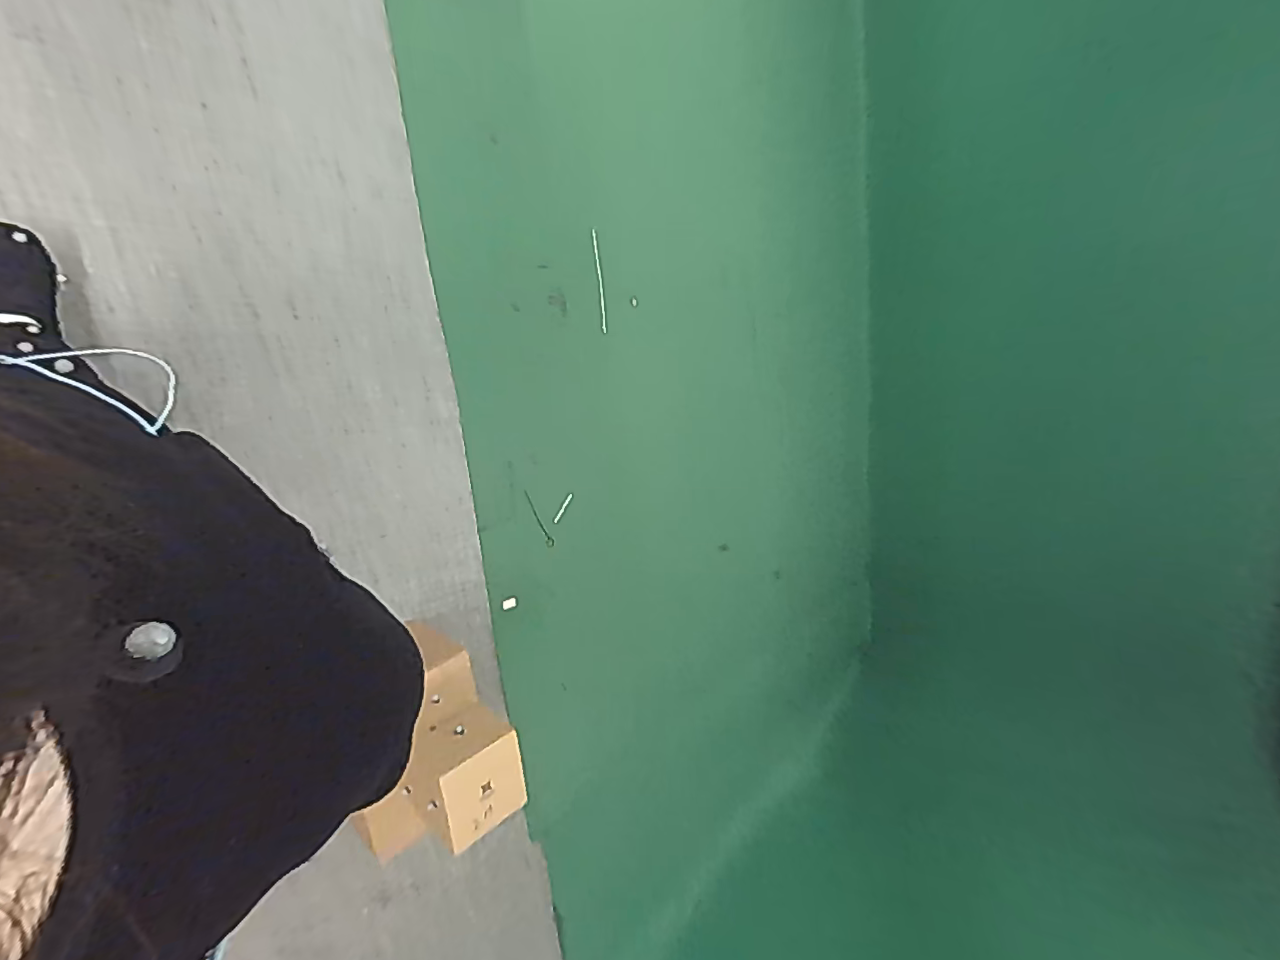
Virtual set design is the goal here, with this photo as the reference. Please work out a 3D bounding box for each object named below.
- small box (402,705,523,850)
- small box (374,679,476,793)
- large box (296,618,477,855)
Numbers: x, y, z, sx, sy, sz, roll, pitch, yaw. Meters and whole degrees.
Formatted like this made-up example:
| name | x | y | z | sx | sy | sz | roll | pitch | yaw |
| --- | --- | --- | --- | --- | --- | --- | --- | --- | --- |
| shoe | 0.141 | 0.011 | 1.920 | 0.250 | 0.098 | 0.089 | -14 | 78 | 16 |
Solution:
| name | x | y | z | sx | sy | sz | roll | pitch | yaw |
| --- | --- | --- | --- | --- | --- | --- | --- | --- | --- |
| small box | -0.363 | 0.587 | 1.100 | 0.168 | 0.176 | 0.179 | -17 | 108 | -44 |
| small box | -0.477 | 0.574 | 1.219 | 0.168 | 0.176 | 0.179 | -17 | 108 | -45 |
| large box | -0.637 | 0.636 | 1.413 | 0.320 | 0.320 | 0.408 | -20 | 110 | -44 |
